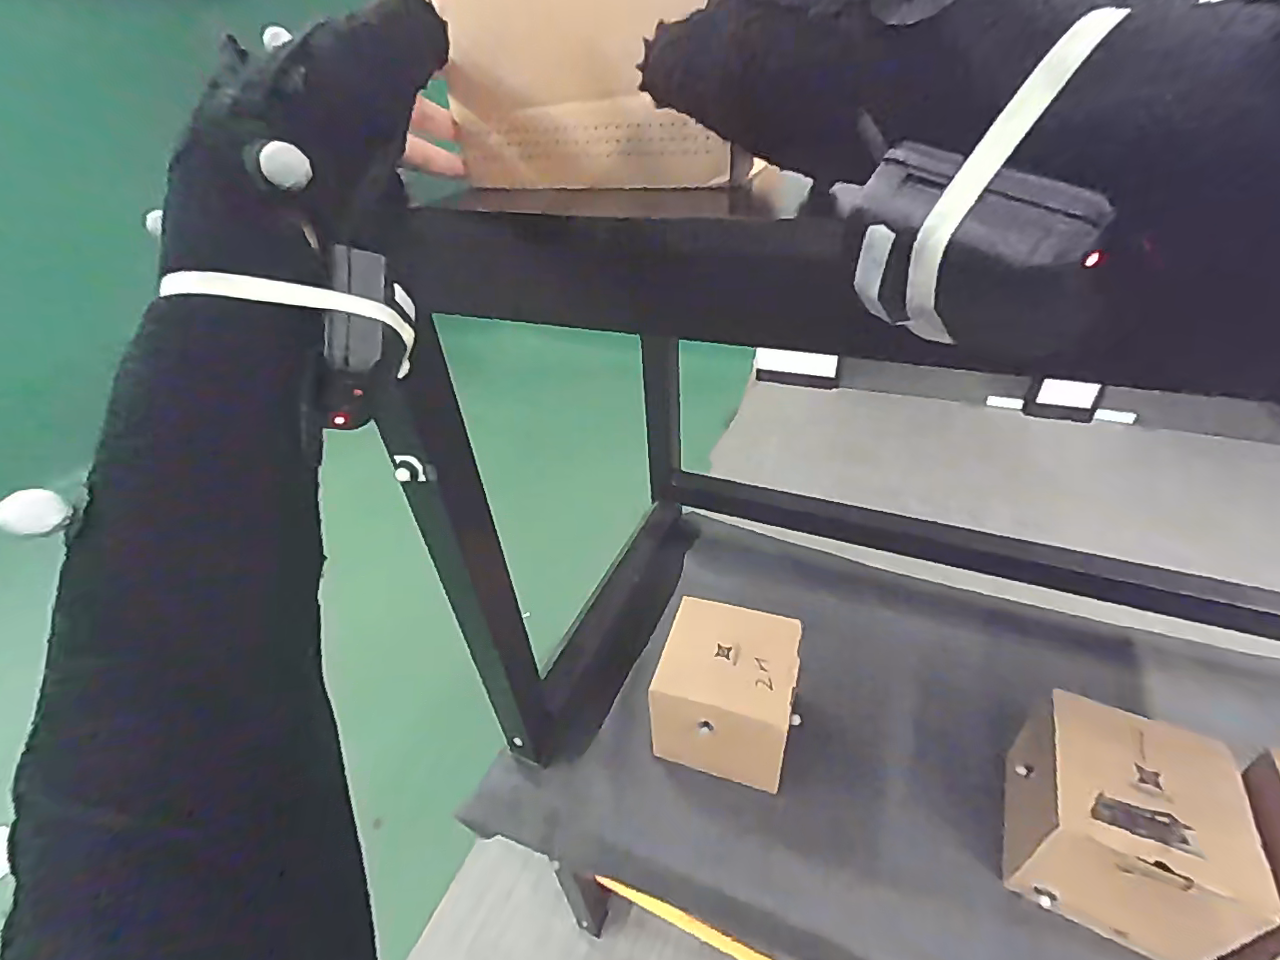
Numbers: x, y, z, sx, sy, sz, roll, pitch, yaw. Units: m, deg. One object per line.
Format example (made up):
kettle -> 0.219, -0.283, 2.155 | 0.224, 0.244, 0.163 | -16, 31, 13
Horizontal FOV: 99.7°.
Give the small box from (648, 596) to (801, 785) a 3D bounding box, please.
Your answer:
small box -> 0.122, 0.298, 0.769 | 0.179, 0.176, 0.168 | 10, 39, 18
